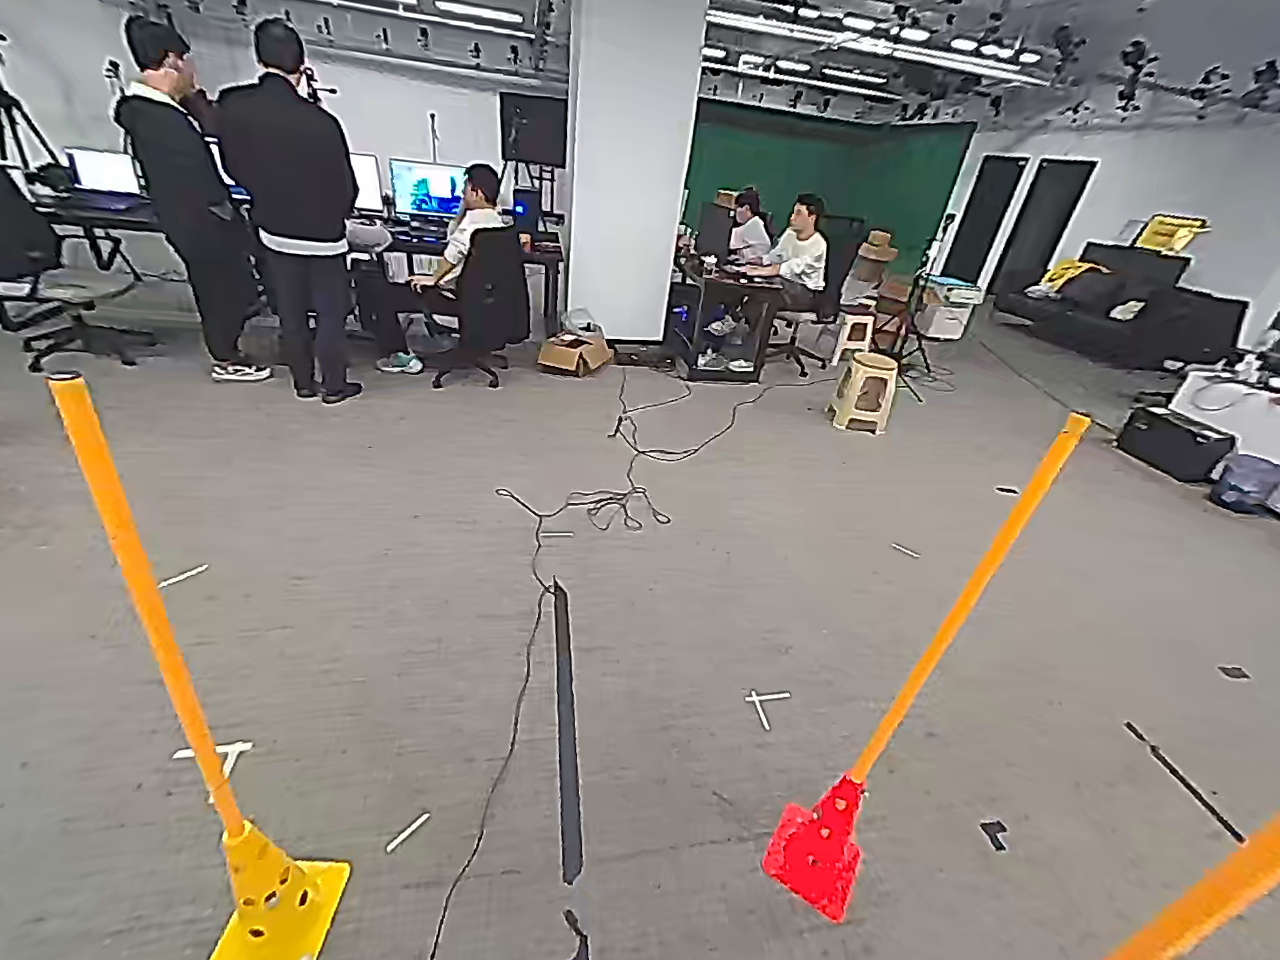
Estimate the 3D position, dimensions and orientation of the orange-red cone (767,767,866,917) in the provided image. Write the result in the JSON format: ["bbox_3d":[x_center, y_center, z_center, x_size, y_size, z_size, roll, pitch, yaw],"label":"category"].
[{"bbox_3d":[0.447,0.776,1.233,0.198,0.360,0.199,24,36,28],"label":"orange-red cone"}]
